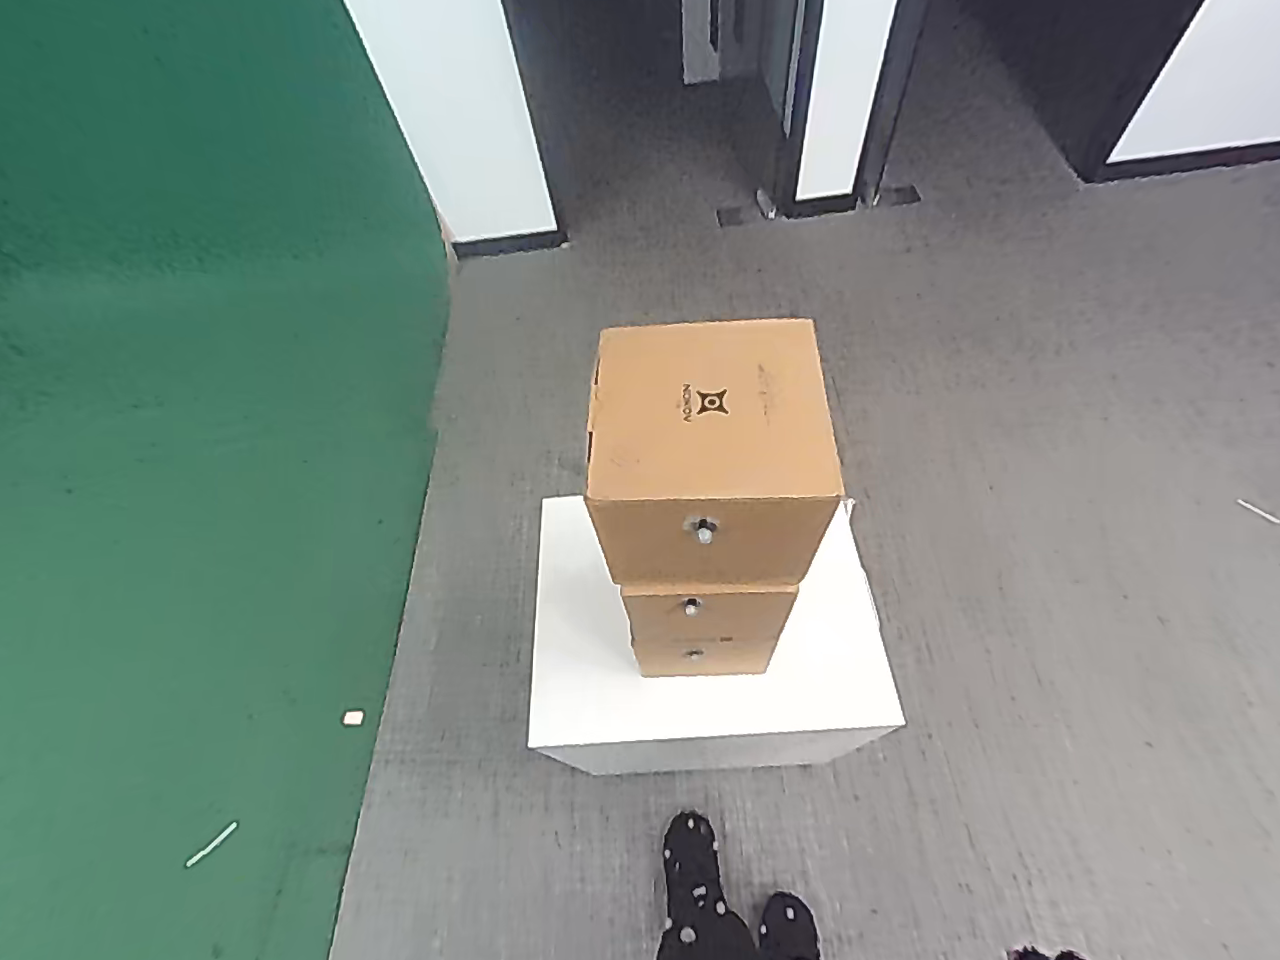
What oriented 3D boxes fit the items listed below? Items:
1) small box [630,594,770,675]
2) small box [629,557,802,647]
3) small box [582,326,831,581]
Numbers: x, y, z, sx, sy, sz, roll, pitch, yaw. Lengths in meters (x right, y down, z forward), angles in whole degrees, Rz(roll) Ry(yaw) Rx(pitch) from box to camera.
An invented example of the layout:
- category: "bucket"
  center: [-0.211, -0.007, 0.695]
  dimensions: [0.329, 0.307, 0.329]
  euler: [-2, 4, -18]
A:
- category: "small box"
  center: [0.083, 0.168, 0.751]
  dimensions: [0.179, 0.176, 0.168]
  euler: [-3, 57, 5]
- category: "small box"
  center: [0.074, 0.078, 0.619]
  dimensions: [0.168, 0.176, 0.179]
  euler: [-4, 58, 3]
- category: "small box"
  center: [0.055, -0.014, 0.483]
  dimensions: [0.179, 0.176, 0.168]
  euler: [-1, 59, 5]
